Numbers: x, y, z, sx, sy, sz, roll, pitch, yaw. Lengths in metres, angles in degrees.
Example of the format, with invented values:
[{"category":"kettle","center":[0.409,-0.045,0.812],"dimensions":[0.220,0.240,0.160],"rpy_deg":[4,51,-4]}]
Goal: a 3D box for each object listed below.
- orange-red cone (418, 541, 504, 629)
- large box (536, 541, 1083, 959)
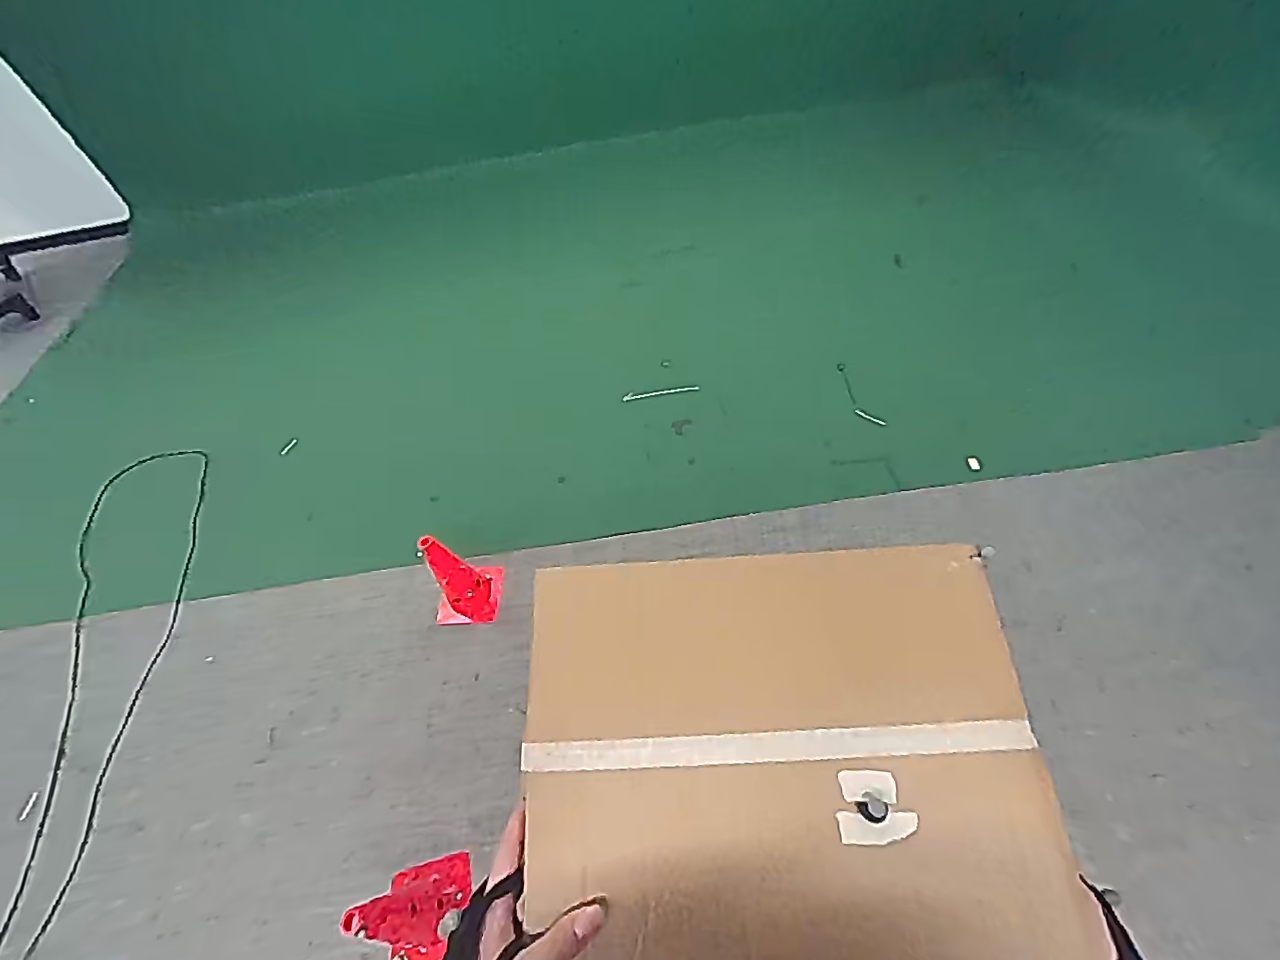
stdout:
[{"category":"orange-red cone","center":[-0.584,0.294,1.658],"dimensions":[0.199,0.360,0.198],"rpy_deg":[-4,52,8]},{"category":"large box","center":[0.118,0.272,0.585],"dimensions":[0.408,0.320,0.320],"rpy_deg":[-4,67,2]}]
